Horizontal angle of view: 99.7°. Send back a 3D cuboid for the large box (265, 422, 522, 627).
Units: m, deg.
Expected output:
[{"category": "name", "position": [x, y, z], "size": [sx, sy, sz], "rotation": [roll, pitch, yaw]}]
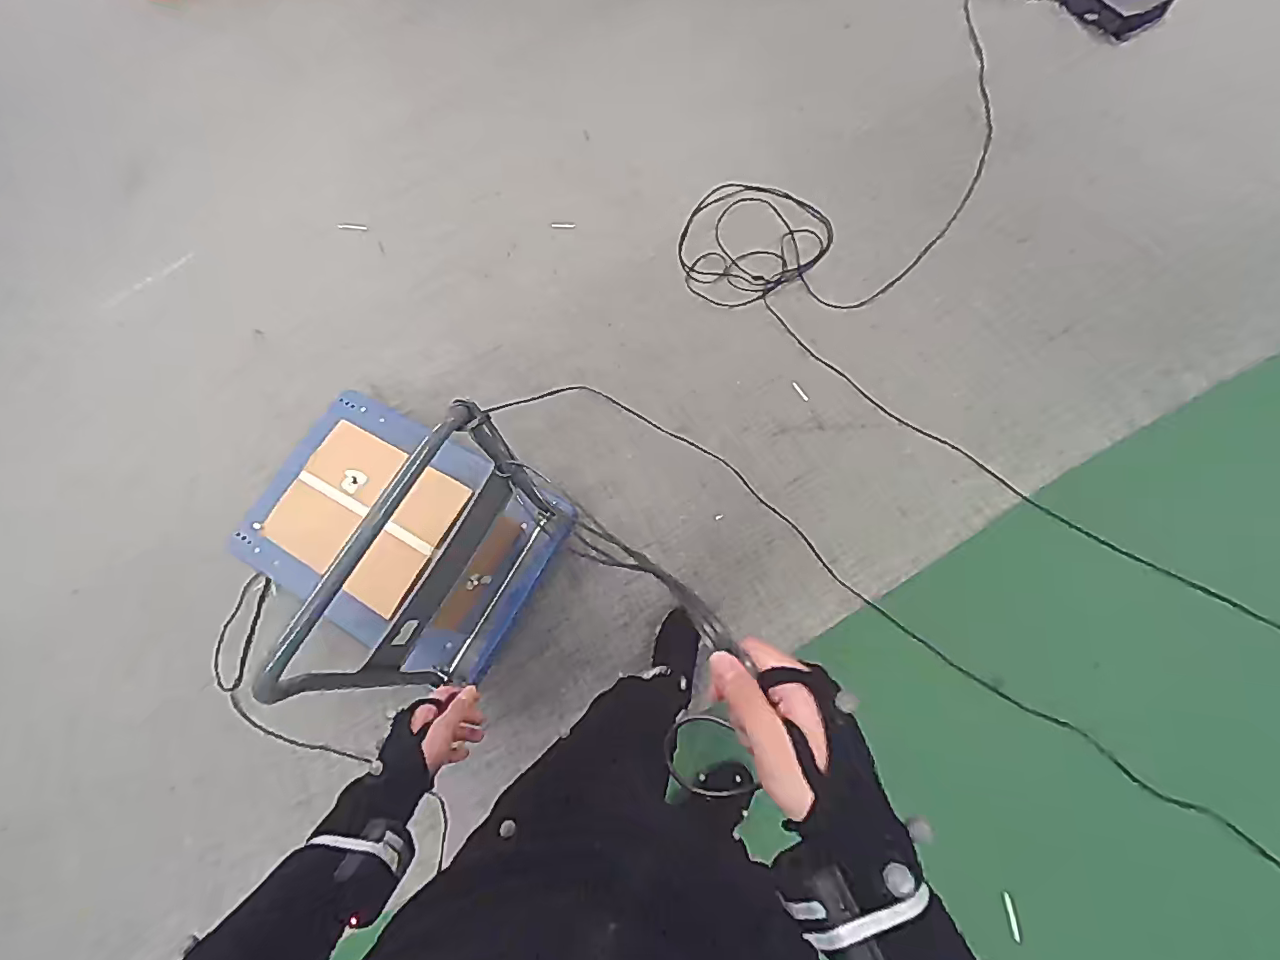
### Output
[{"category": "large box", "position": [-0.572, 0.120, 1.319], "size": [0.408, 0.320, 0.320], "rotation": [26, 75, 17]}]
